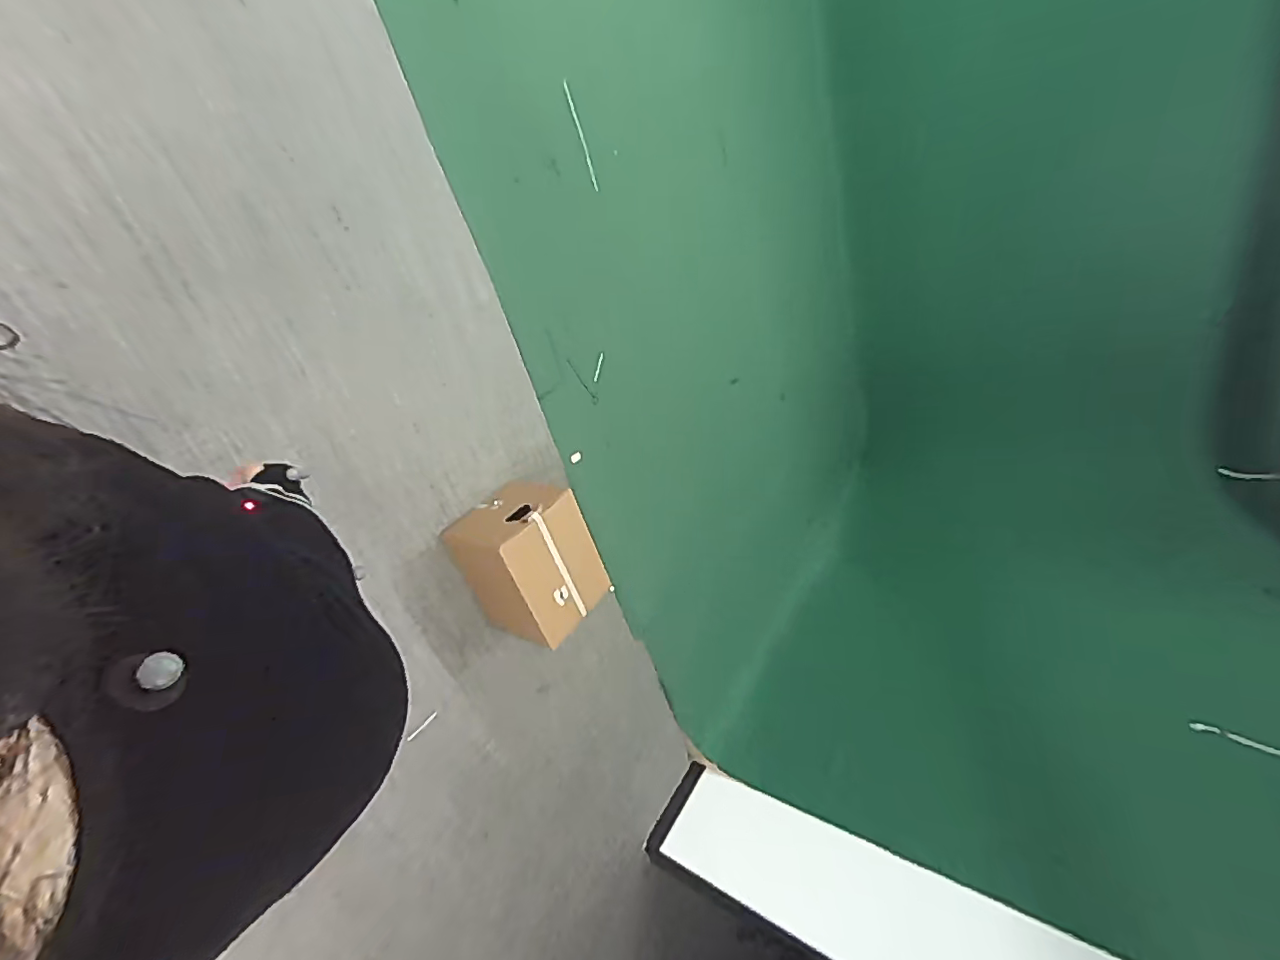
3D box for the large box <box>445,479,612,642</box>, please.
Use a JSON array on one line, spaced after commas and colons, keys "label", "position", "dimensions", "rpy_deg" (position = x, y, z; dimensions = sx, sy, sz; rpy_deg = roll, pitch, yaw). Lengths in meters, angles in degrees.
[{"label": "large box", "position": [-0.353, 0.247, 1.765], "dimensions": [0.320, 0.320, 0.408], "rpy_deg": [-43, 126, -39]}]
